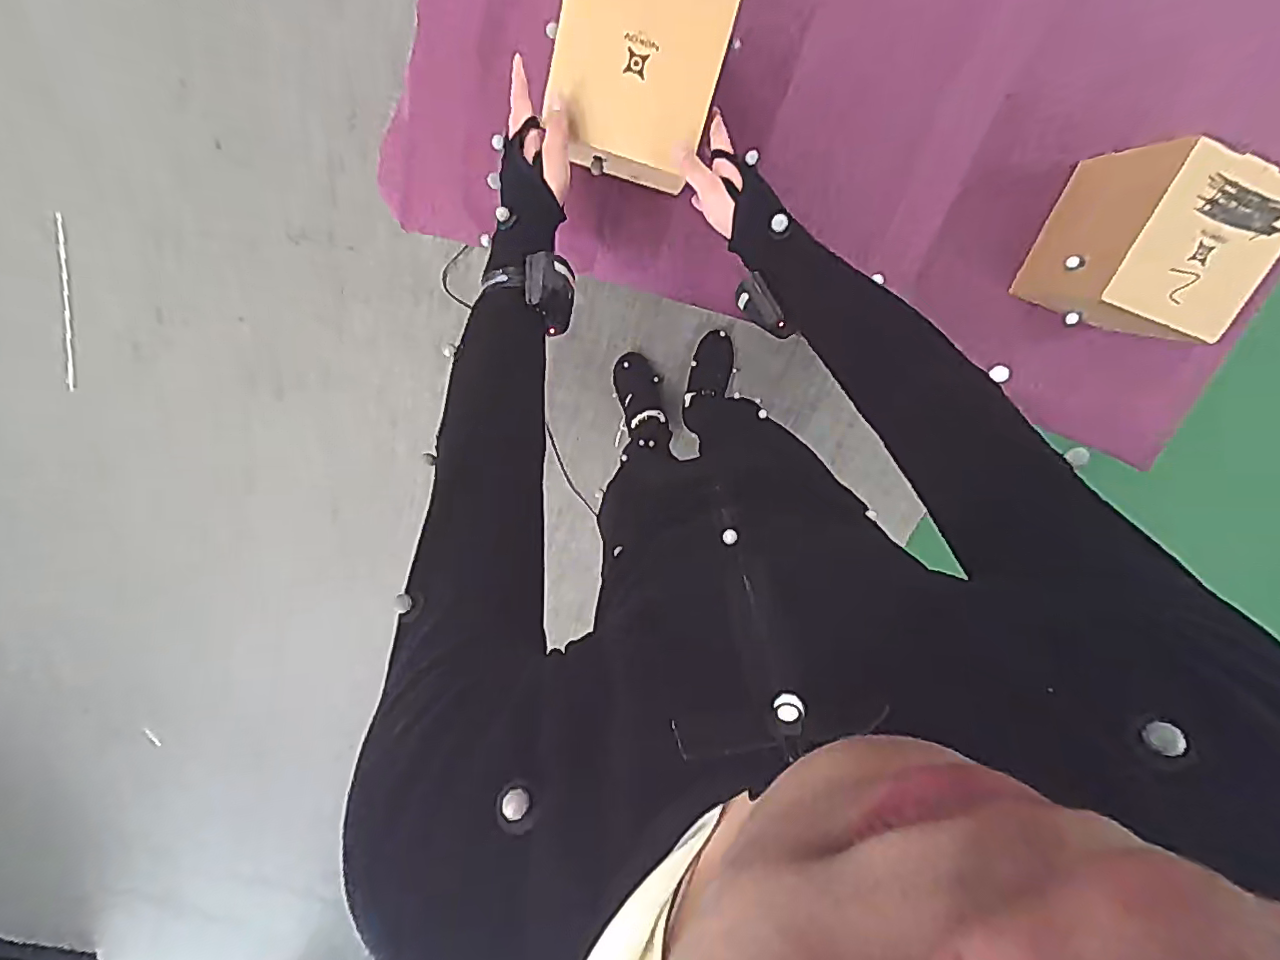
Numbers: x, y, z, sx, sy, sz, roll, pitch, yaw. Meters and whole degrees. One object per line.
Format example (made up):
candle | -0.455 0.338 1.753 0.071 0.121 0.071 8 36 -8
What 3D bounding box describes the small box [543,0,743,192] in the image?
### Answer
small box | 0.001 -0.446 0.607 0.168 0.176 0.179 14 109 -7
